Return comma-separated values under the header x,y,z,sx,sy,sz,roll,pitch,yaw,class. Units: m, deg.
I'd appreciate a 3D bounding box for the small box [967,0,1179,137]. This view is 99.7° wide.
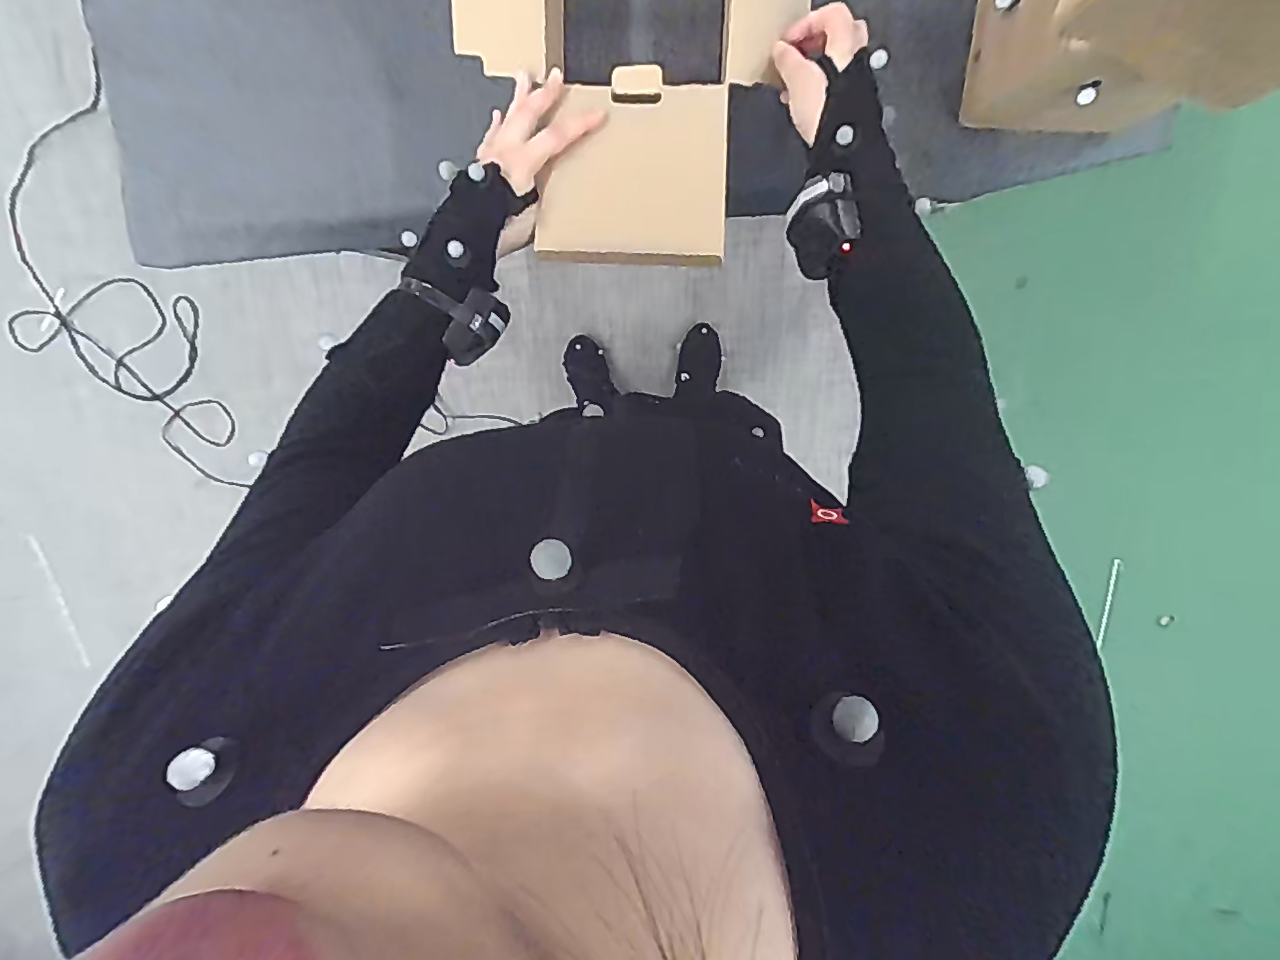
x,y,z,sx,sy,sz,roll,pitch,yaw,class
0.447,-0.446,0.510,0.179,0.176,0.168,3,104,2,small box
